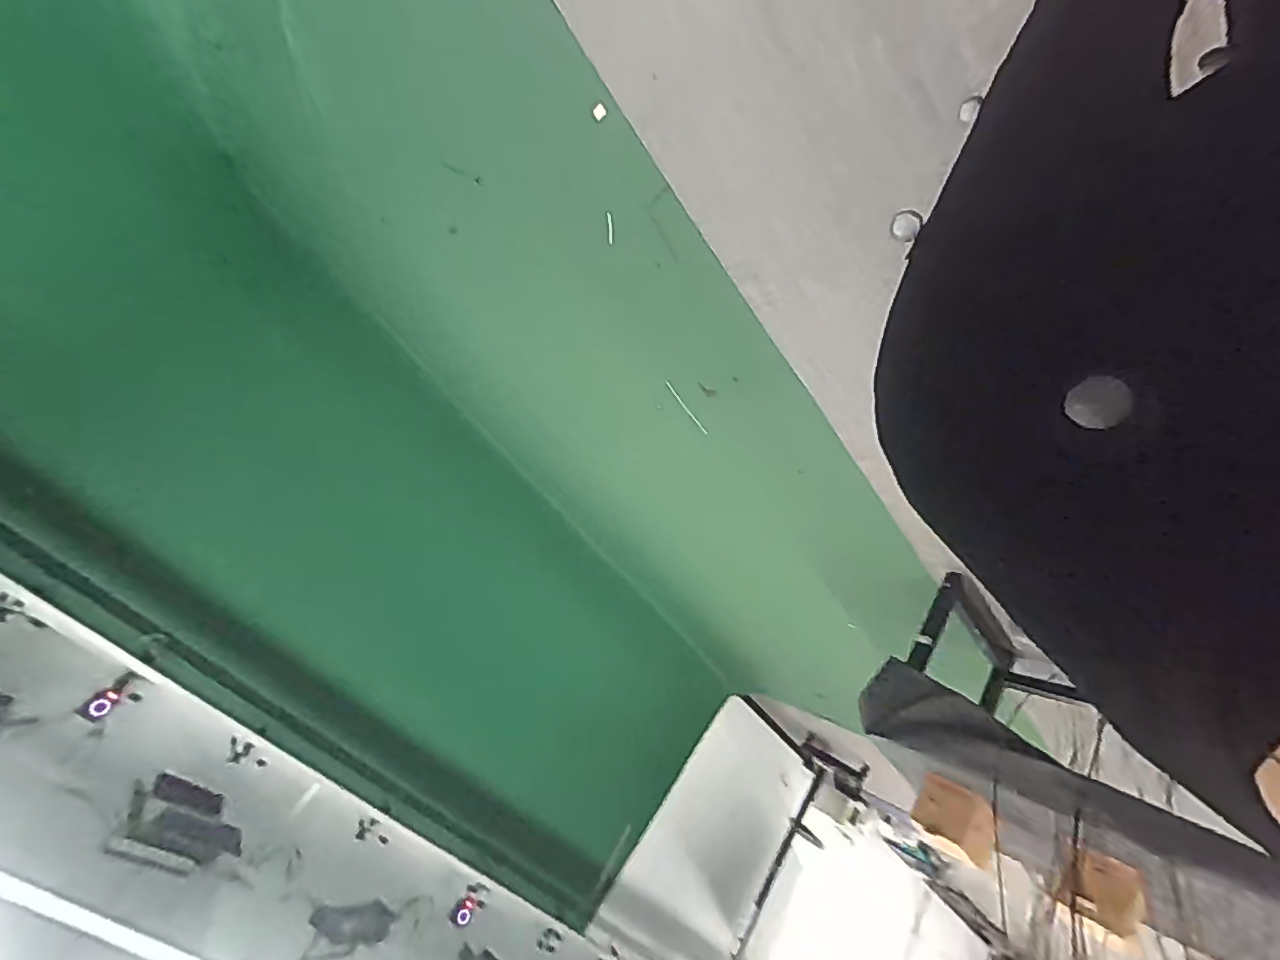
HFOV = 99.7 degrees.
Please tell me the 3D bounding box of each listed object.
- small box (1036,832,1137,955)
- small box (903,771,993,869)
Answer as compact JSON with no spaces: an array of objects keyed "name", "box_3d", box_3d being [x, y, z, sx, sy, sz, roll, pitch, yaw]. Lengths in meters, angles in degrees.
[{"name":"small box","box_3d":[1.168,1.071,1.410,0.168,0.176,0.179,9,142,51]},{"name":"small box","box_3d":[0.958,1.045,1.678,0.179,0.176,0.168,48,157,-23]}]
